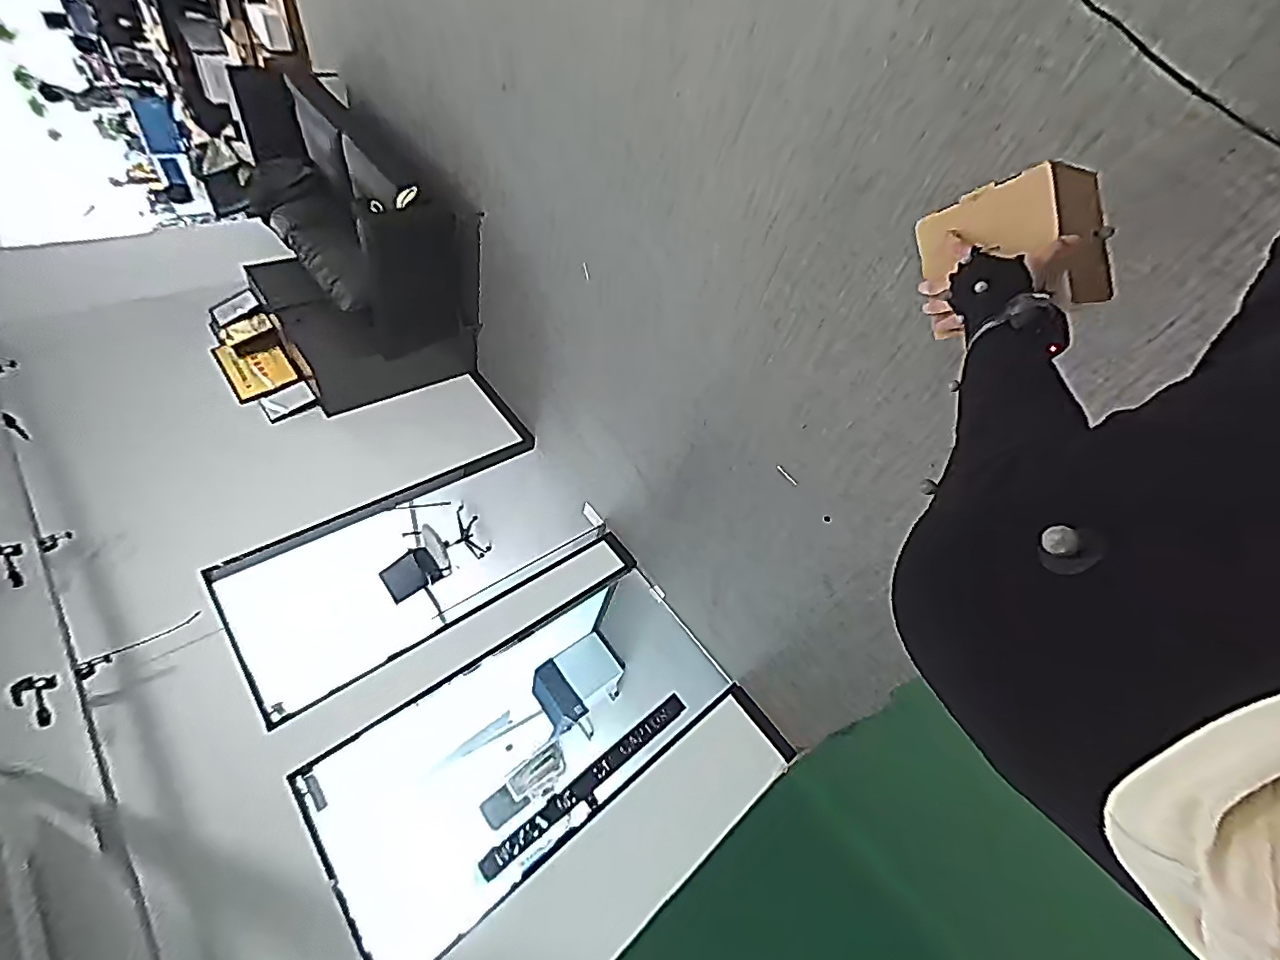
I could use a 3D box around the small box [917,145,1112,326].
[{"bbox_3d":[0.521,-0.326,0.755,0.168,0.176,0.179,-5,99,57],"label":"small box"}]
